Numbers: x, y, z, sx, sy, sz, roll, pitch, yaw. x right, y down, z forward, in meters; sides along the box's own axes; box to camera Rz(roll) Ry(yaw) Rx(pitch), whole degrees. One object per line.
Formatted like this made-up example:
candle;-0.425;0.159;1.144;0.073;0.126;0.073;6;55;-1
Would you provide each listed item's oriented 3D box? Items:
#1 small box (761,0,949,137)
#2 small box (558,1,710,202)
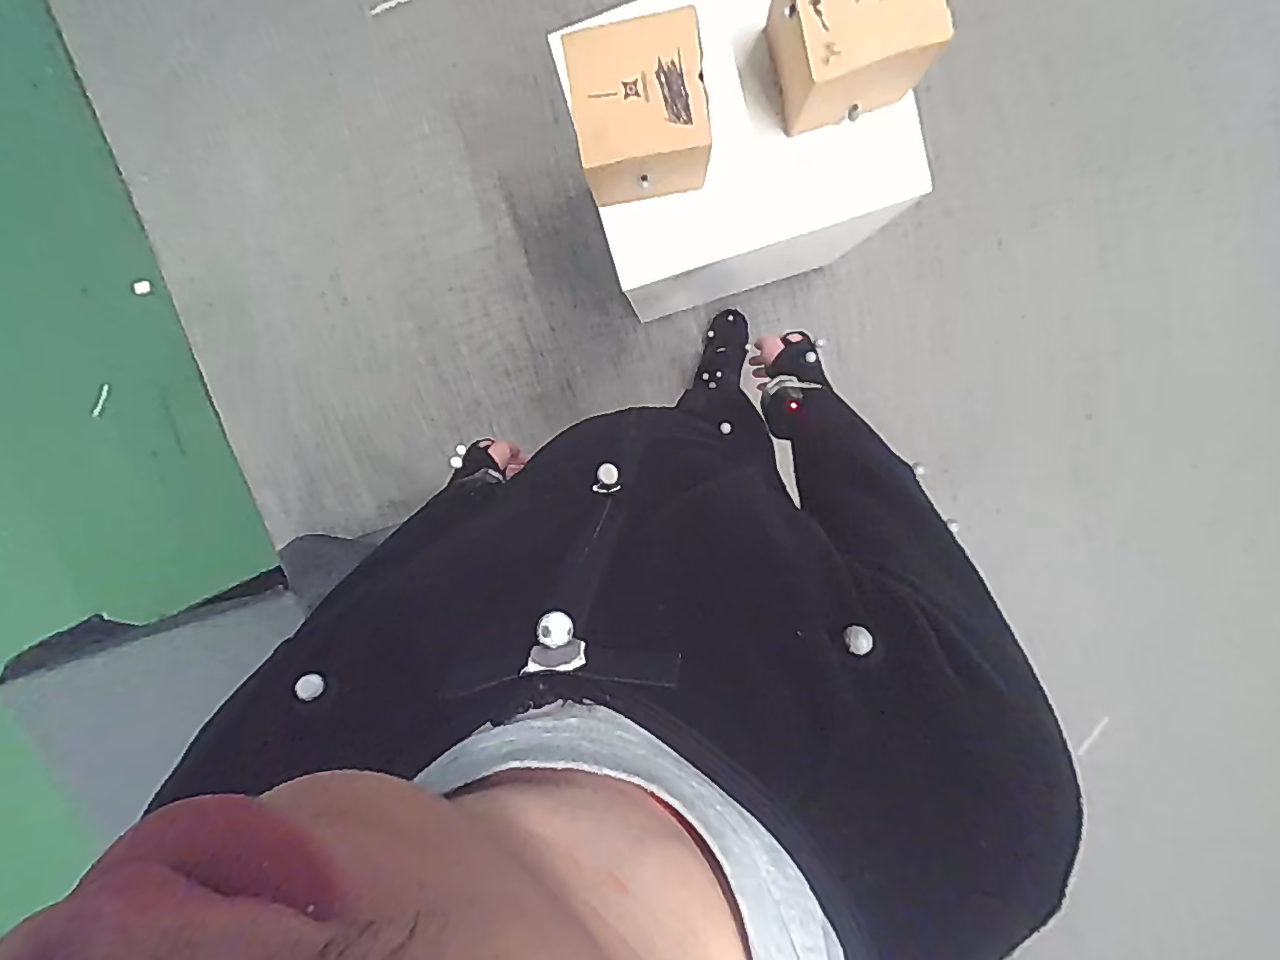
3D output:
small box;0.279;-0.605;0.732;0.179;0.176;0.168;-14;100;4
small box;-0.005;-0.511;0.757;0.179;0.176;0.168;-8;100;3
